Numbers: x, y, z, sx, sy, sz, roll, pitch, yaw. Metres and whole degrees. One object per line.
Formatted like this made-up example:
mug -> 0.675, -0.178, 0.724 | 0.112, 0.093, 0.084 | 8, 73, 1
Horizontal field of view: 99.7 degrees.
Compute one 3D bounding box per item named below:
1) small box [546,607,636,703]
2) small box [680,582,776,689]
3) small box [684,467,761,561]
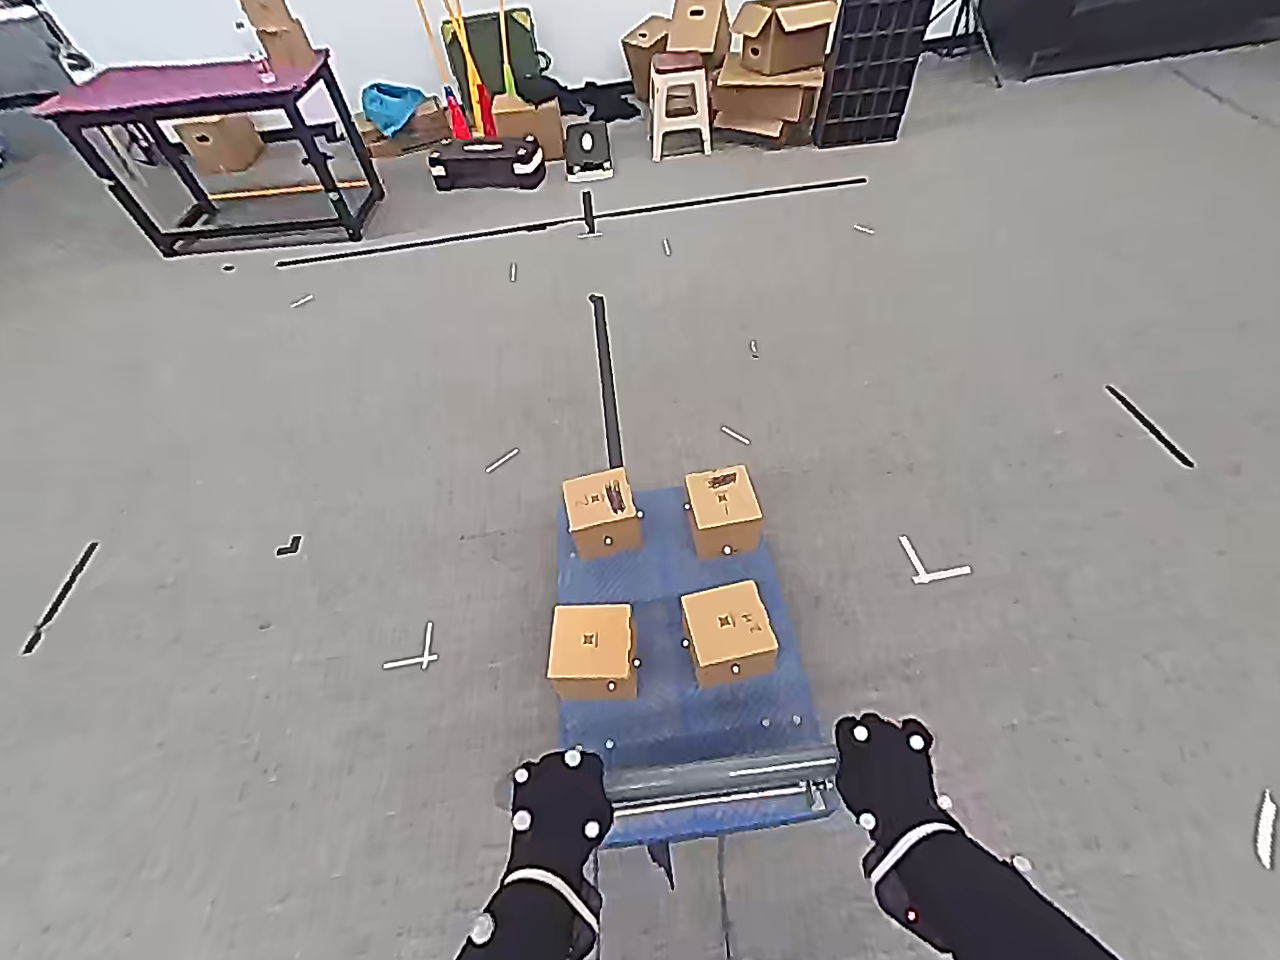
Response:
small box -> -0.104, 0.404, 1.240 | 0.179, 0.176, 0.168 | -2, 51, 3
small box -> 0.197, 0.361, 1.240 | 0.179, 0.176, 0.168 | -12, 52, -3
small box -> 0.213, 0.092, 1.446 | 0.168, 0.176, 0.179 | -11, 53, -1
